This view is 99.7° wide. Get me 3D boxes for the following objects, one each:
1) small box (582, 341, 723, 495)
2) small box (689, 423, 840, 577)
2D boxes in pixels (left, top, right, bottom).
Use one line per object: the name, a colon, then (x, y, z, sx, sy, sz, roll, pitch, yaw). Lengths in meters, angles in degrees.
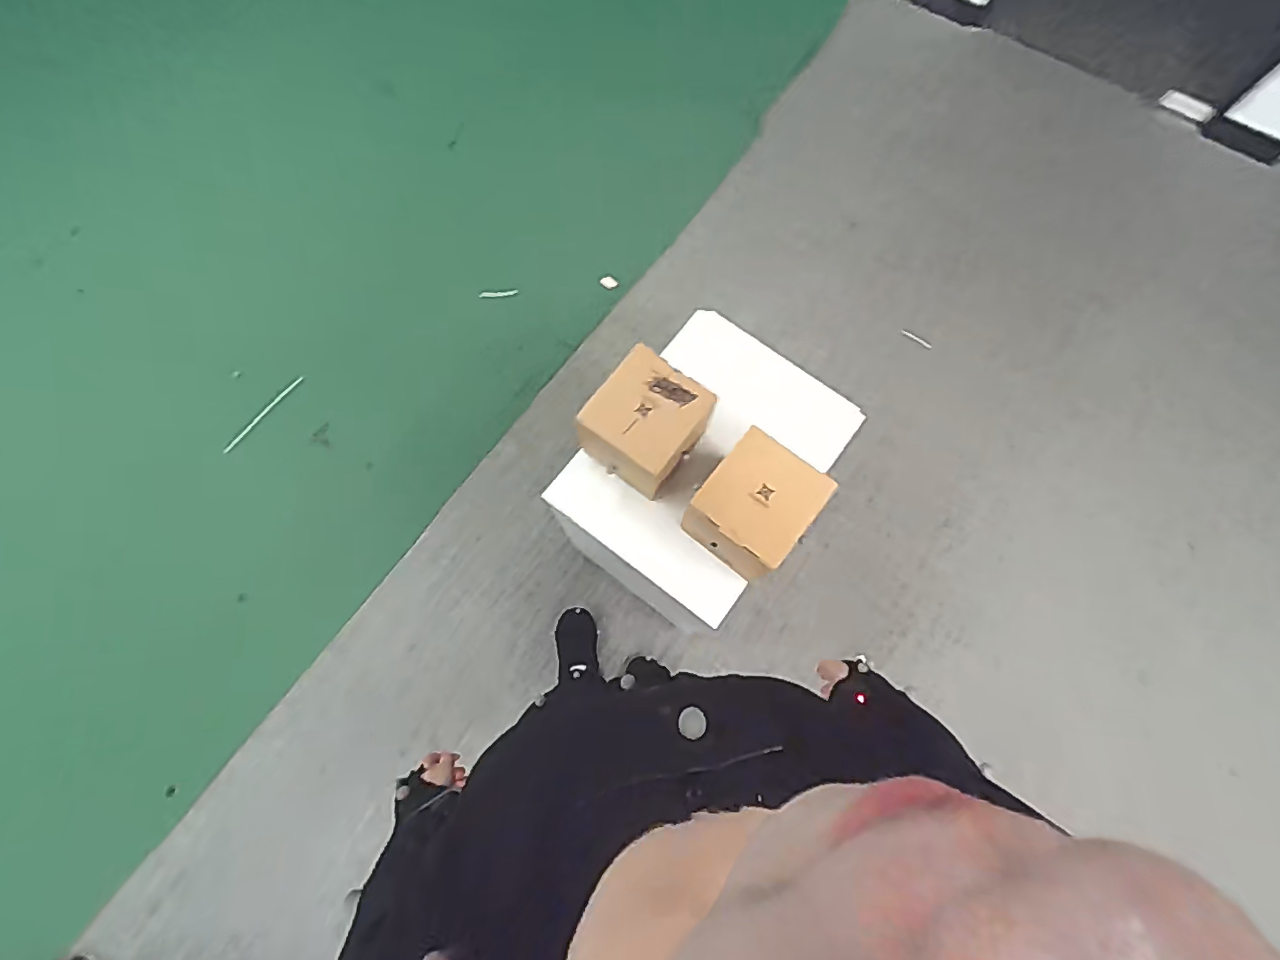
small box: (0.018, -0.101, 0.949, 0.168, 0.176, 0.179, 37, 78, 9)
small box: (0.195, 0.042, 0.908, 0.168, 0.176, 0.179, 39, 77, 11)
